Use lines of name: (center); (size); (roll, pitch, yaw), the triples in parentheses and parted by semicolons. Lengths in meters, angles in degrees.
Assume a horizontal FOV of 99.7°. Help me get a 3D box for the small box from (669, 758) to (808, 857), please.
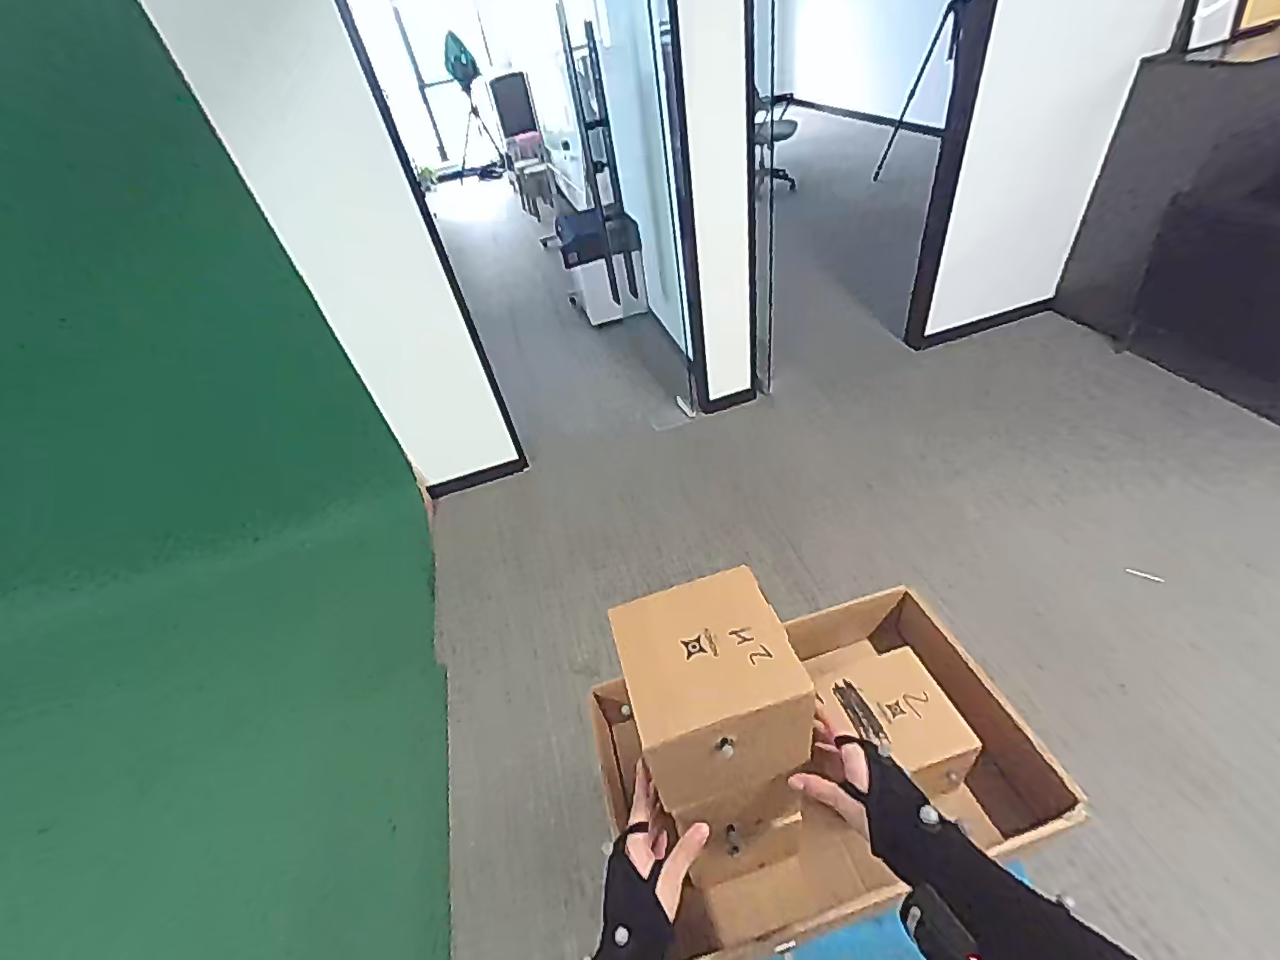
small box: (0.104, 0.357, 0.719); (0.168, 0.176, 0.179); (-16, 40, -6)

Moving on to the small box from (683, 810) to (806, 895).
small box: (0.133, 0.482, 0.819); (0.168, 0.176, 0.179); (-16, 40, -5)

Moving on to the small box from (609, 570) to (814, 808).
small box: (0.079, 0.237, 0.611); (0.179, 0.176, 0.168); (-16, 40, -5)
